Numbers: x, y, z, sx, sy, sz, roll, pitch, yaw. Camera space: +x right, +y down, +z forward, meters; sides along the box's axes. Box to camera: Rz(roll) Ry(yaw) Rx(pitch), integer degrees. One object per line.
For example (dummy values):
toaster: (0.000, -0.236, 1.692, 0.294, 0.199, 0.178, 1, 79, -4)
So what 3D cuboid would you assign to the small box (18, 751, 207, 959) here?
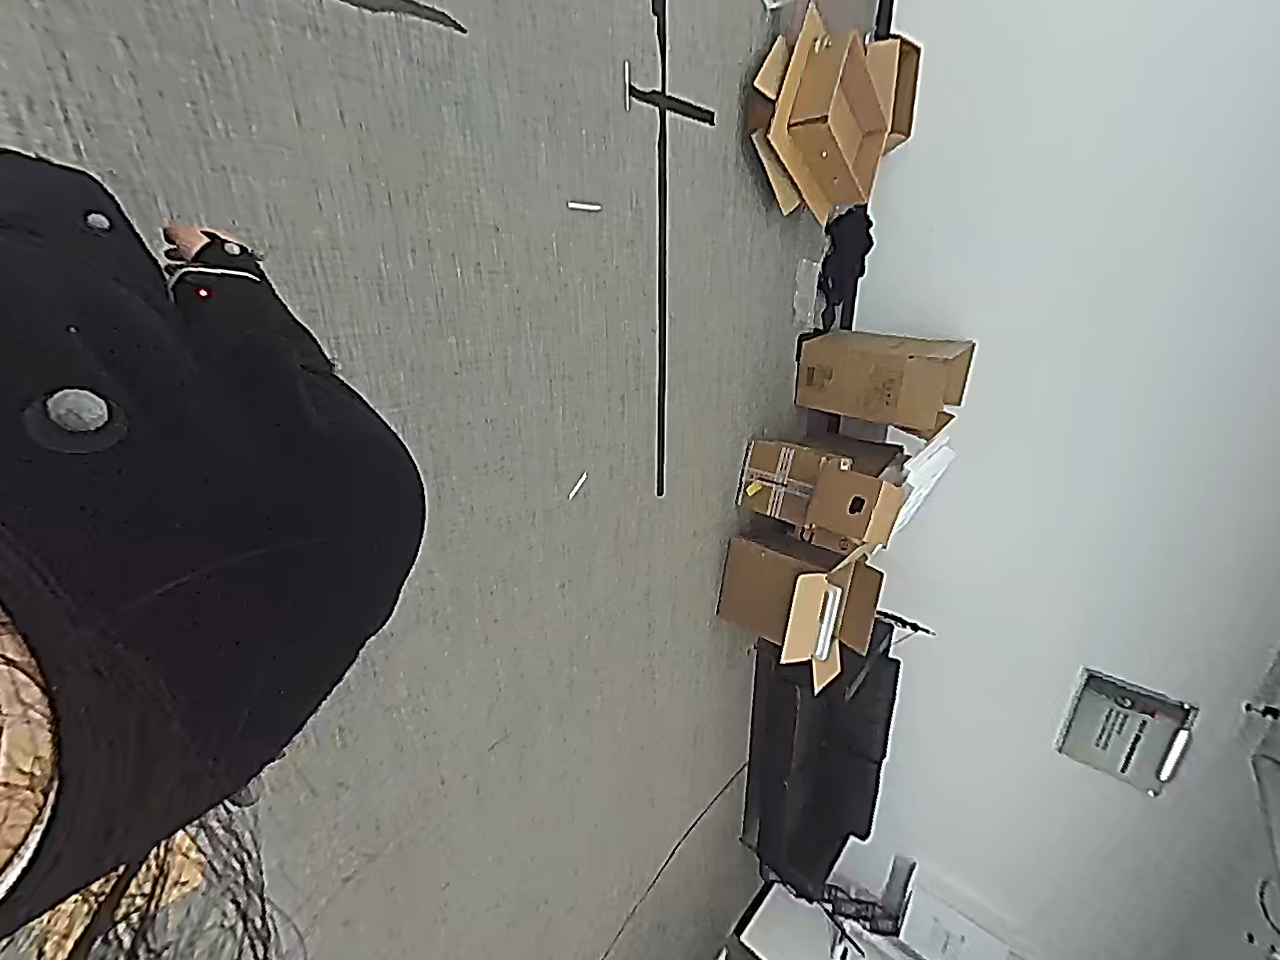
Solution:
small box: (-0.789, 0.544, 0.812, 0.168, 0.176, 0.179, -17, 116, -46)
